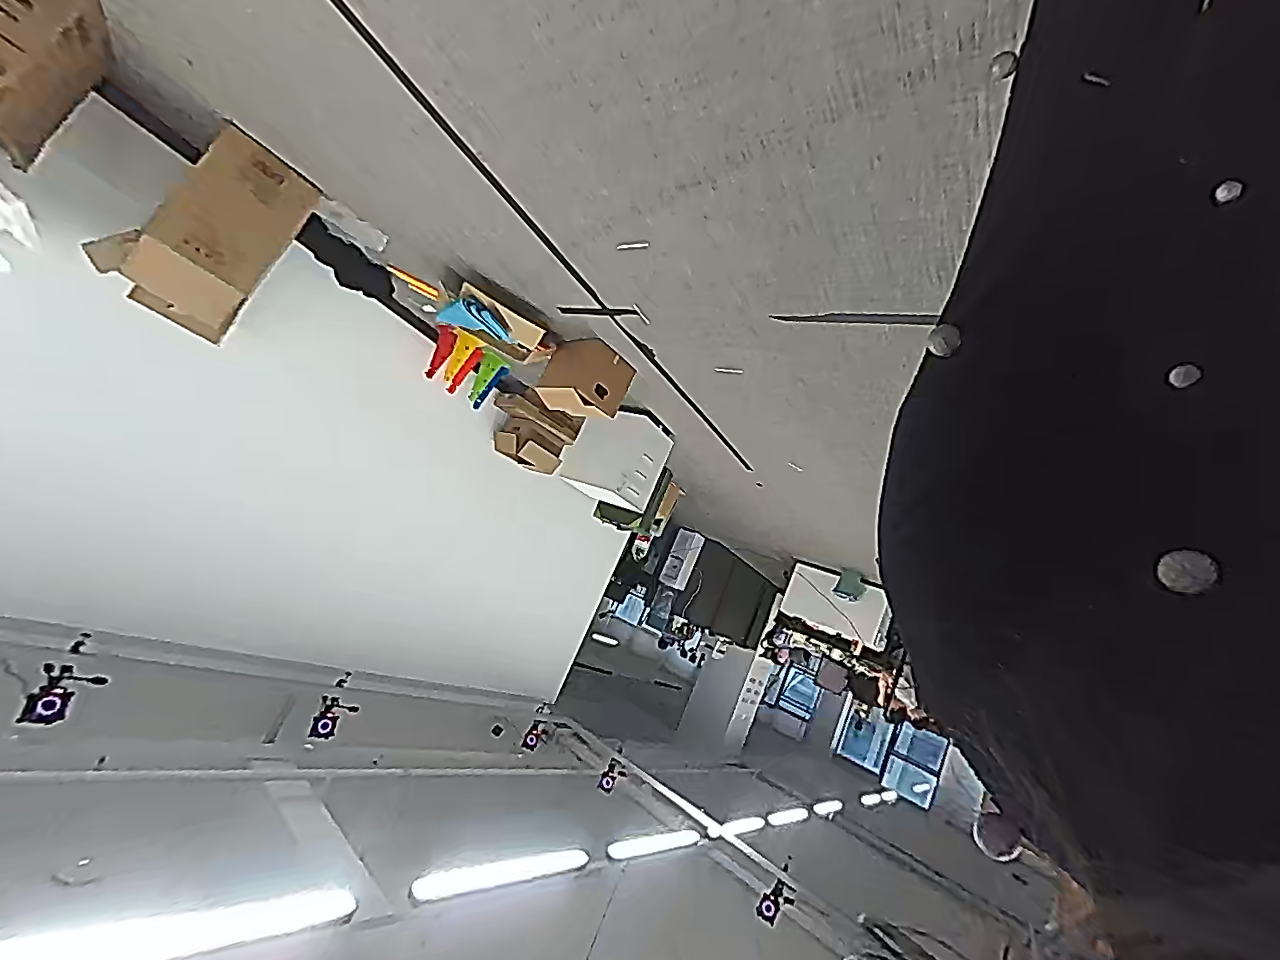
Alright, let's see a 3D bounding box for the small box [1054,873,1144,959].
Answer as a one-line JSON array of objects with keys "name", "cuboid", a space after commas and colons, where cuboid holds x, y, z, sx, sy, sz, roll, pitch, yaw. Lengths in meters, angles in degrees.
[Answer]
[{"name": "small box", "cuboid": [1.465, 1.394, 1.719, 0.168, 0.176, 0.179, 33, 165, -29]}]
